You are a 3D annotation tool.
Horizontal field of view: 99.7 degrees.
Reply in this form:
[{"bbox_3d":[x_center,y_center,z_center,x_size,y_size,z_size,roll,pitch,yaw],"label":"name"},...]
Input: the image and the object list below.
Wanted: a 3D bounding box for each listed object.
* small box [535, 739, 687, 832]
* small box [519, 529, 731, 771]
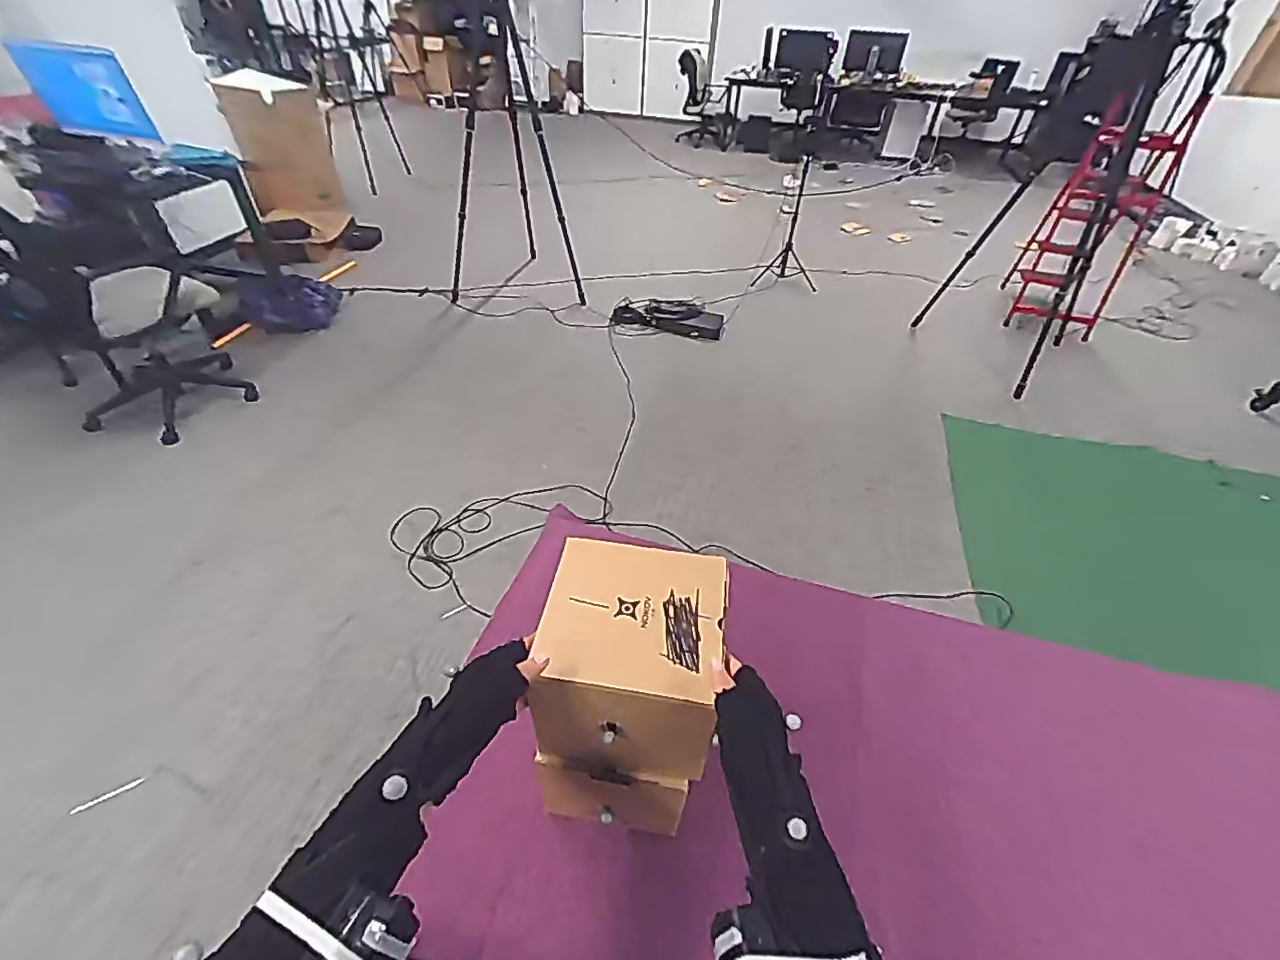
[{"bbox_3d":[-0.023,0.307,0.681,0.168,0.176,0.179,7,43,6],"label":"small box"},{"bbox_3d":[-0.010,0.180,0.571,0.179,0.176,0.168,10,40,7],"label":"small box"}]
